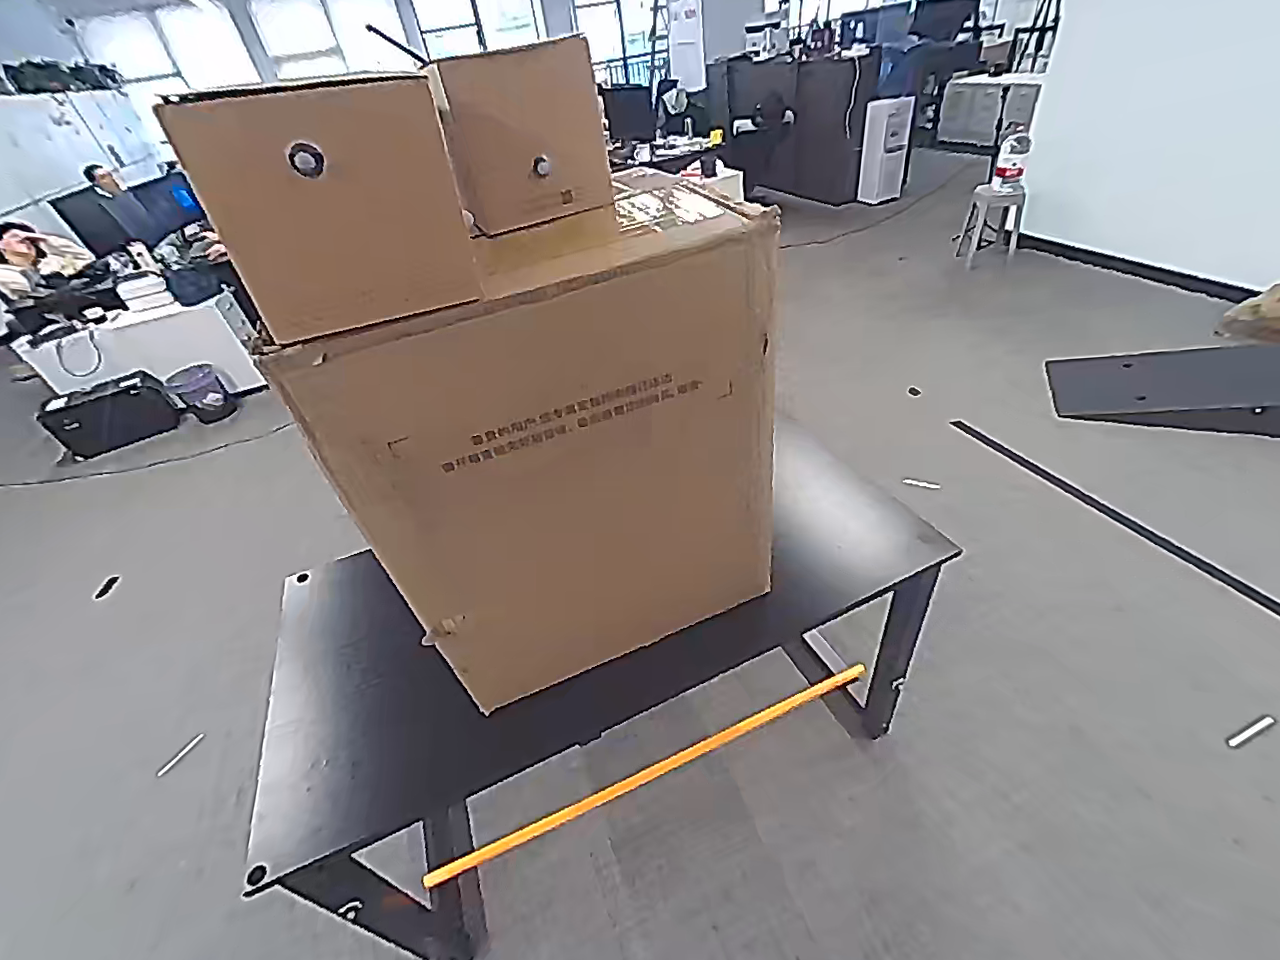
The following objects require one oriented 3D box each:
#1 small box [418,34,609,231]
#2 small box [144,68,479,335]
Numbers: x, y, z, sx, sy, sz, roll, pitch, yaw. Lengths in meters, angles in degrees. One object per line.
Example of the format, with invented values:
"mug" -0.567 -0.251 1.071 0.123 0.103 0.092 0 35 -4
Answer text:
"small box" -0.154 -0.421 0.666 0.168 0.176 0.179 -23 39 -14
"small box" -0.260 -0.242 0.470 0.179 0.176 0.168 -20 41 -17
